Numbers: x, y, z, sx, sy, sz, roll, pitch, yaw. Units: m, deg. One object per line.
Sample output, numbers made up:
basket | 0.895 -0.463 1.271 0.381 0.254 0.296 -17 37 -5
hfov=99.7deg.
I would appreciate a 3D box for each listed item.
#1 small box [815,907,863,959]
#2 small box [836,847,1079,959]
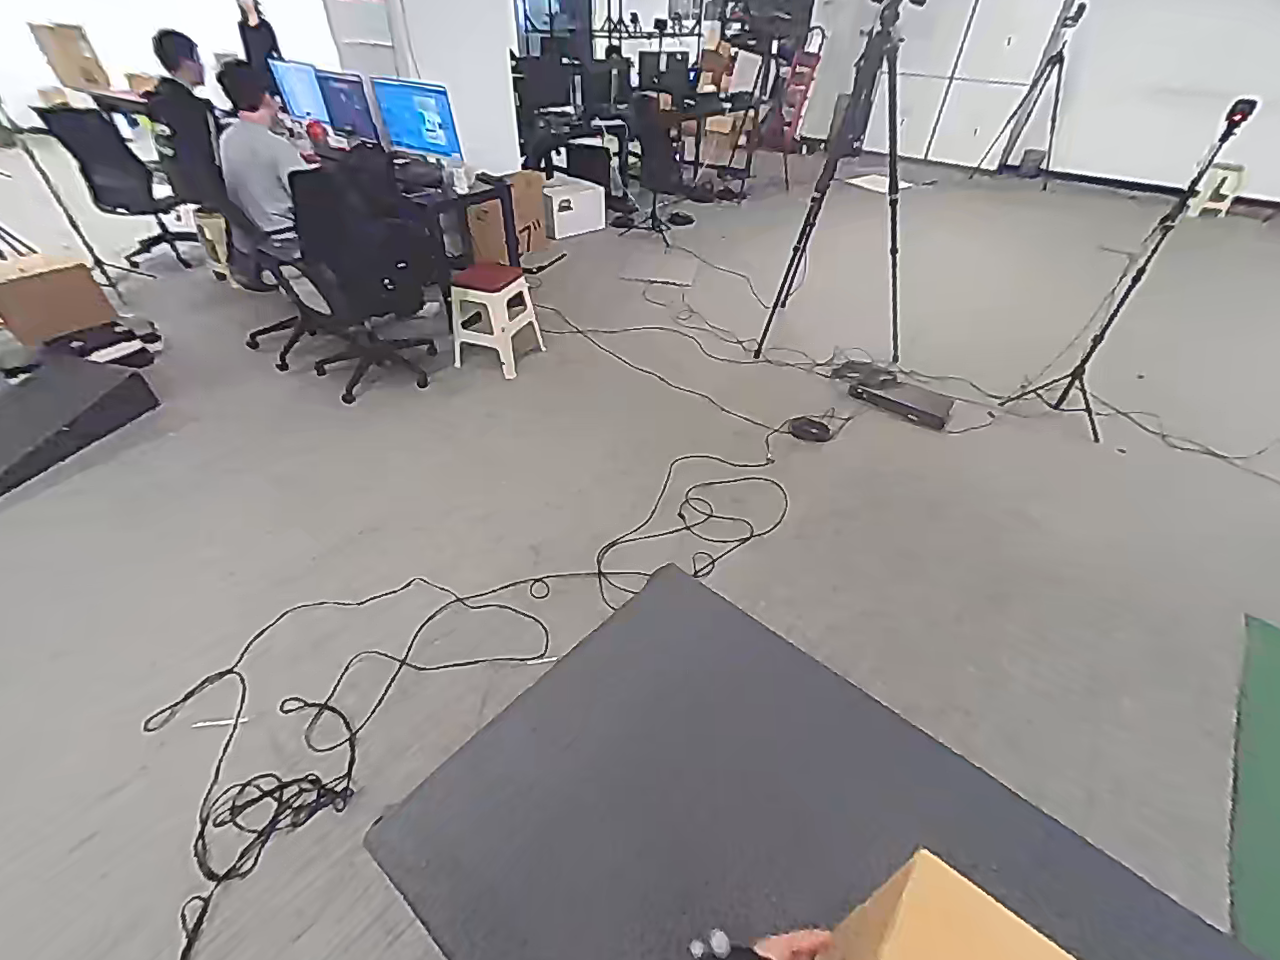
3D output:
small box | 0.211 0.529 0.461 0.168 0.176 0.179 27 46 30
small box | 0.211 0.403 0.358 0.168 0.176 0.179 28 47 30
